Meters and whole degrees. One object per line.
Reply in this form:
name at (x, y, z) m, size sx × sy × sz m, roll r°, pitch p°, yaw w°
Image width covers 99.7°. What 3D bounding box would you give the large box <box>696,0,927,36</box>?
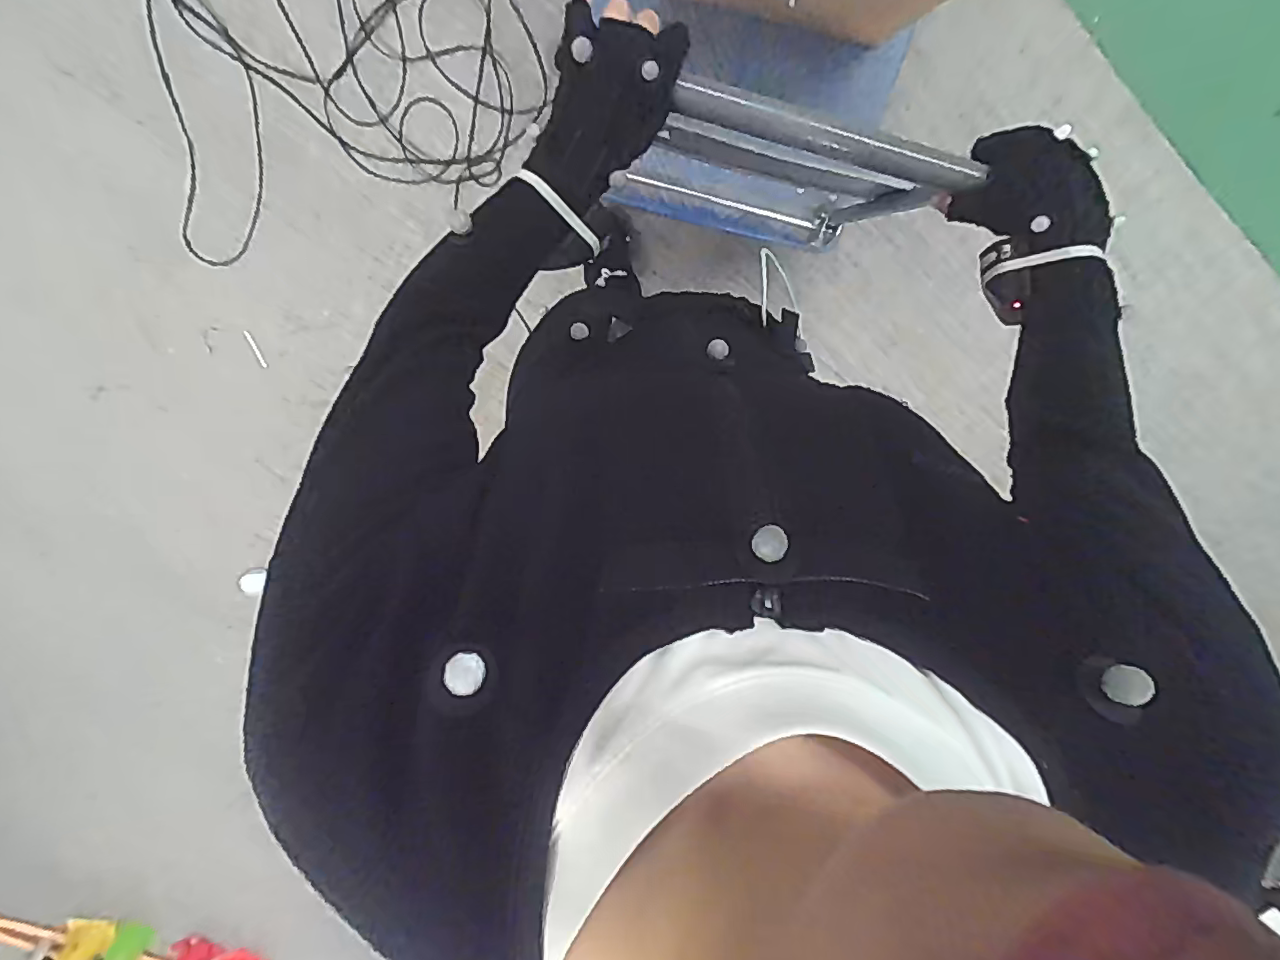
large box at (0.267, -0.906, 0.782) m, size 0.408 × 0.320 × 0.320 m, roll 9°, pitch 115°, yaw -4°
